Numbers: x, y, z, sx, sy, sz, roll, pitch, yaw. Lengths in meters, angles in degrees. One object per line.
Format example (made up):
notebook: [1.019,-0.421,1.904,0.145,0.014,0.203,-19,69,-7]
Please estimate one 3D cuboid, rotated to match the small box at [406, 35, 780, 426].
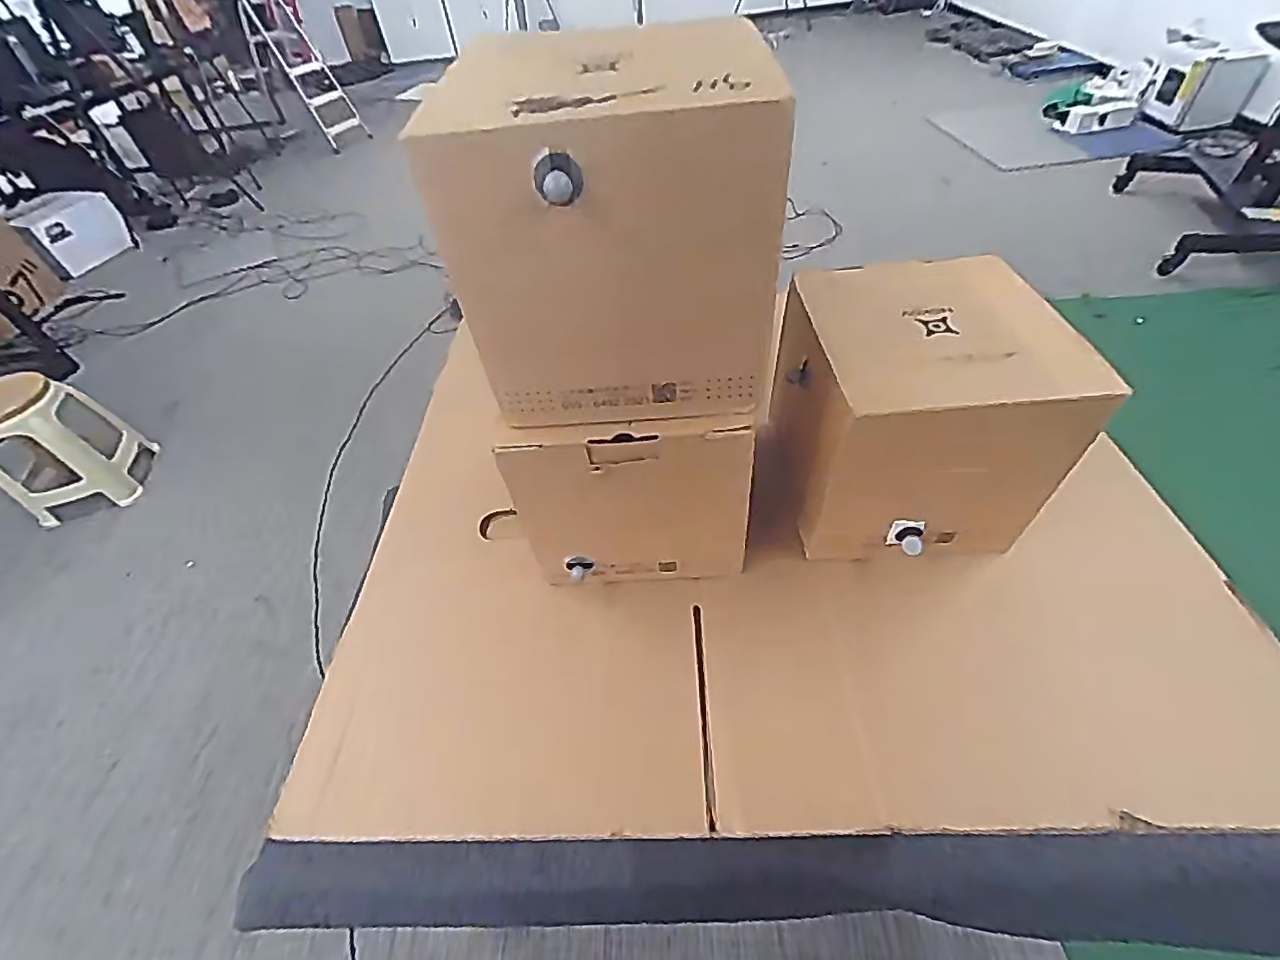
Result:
small box: [-0.014,-0.155,0.344,0.168,0.176,0.179,-3,48,5]
